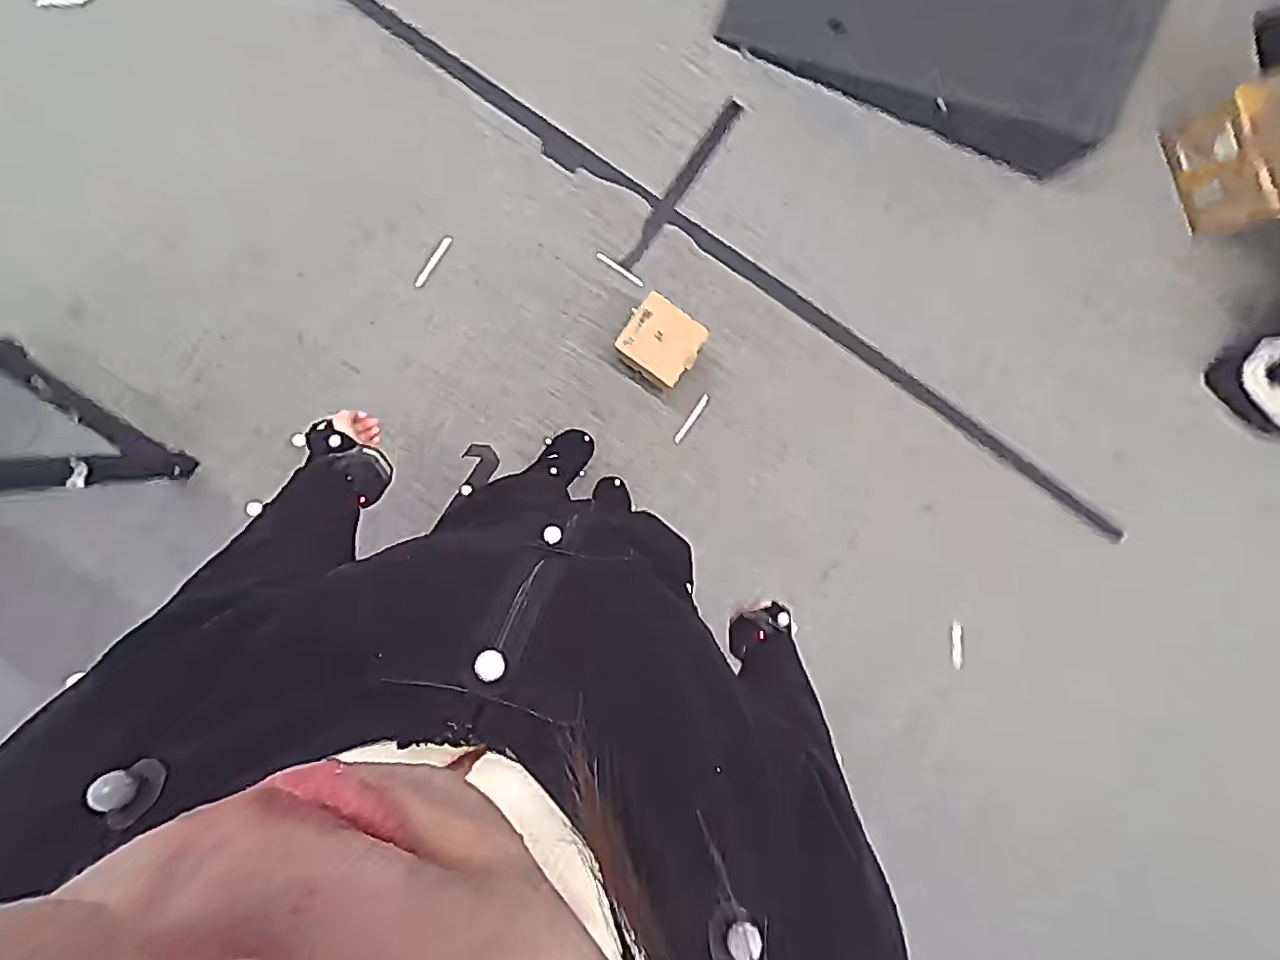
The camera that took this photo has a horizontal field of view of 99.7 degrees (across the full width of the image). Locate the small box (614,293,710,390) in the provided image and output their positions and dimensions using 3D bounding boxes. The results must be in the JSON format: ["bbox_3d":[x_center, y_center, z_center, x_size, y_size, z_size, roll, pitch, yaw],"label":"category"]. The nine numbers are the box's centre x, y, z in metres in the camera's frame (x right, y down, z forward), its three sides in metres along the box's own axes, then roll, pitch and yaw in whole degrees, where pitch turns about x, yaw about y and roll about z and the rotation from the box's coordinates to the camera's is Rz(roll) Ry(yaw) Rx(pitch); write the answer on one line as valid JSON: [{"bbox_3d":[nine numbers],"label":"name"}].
[{"bbox_3d":[0.051,-0.343,1.377,0.179,0.176,0.168,36,93,-6],"label":"small box"}]
